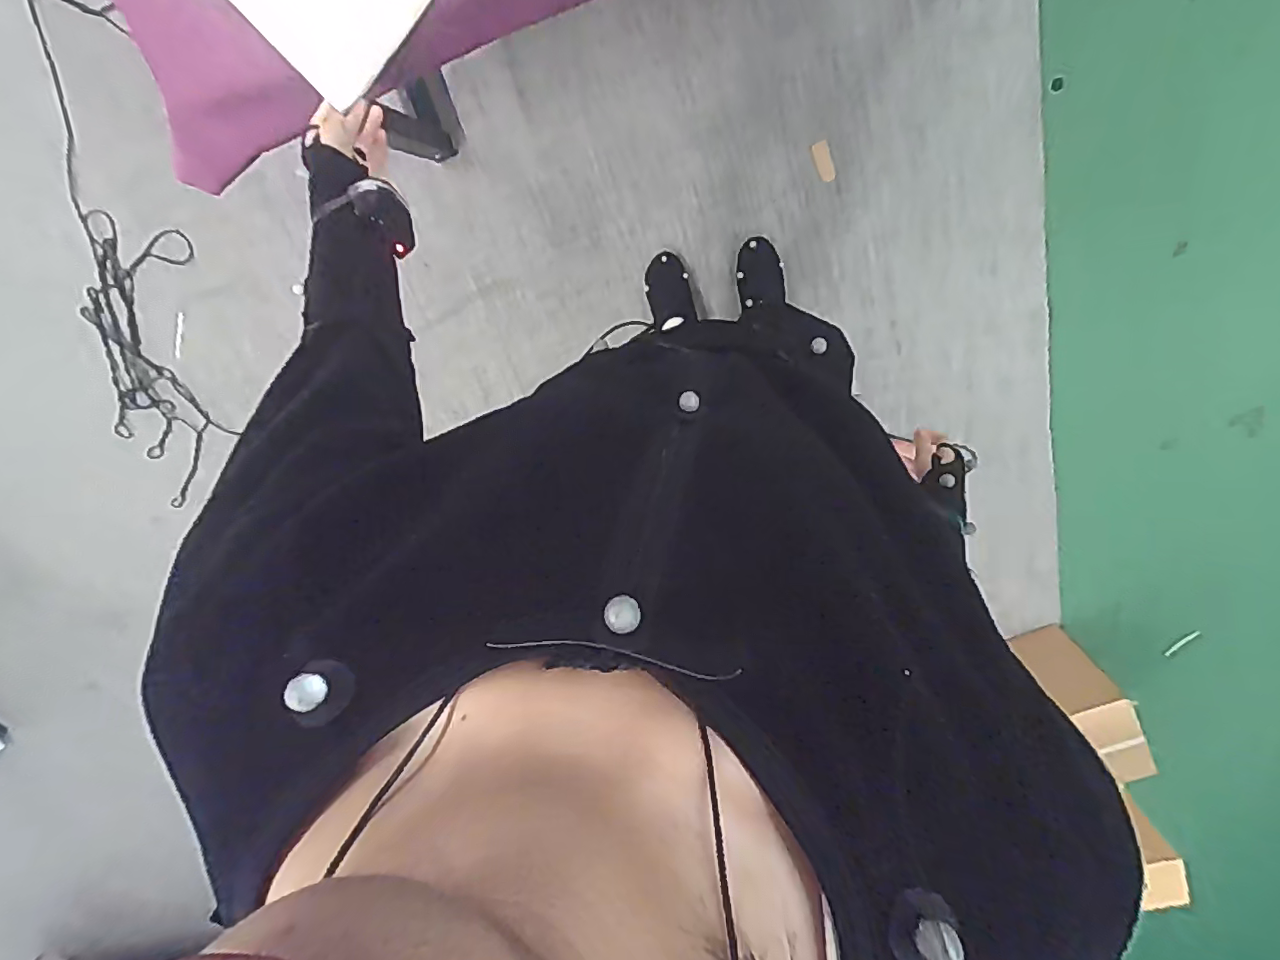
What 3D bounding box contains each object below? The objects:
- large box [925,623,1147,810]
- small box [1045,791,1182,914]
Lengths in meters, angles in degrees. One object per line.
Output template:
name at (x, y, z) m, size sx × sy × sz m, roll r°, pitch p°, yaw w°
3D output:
large box at (1.170, 0.707, 1.639) m, size 0.408 × 0.320 × 0.320 m, roll -29°, pitch 110°, yaw 14°
small box at (1.101, 0.865, 1.267) m, size 0.179 × 0.176 × 0.168 m, roll -22°, pitch 110°, yaw 14°
